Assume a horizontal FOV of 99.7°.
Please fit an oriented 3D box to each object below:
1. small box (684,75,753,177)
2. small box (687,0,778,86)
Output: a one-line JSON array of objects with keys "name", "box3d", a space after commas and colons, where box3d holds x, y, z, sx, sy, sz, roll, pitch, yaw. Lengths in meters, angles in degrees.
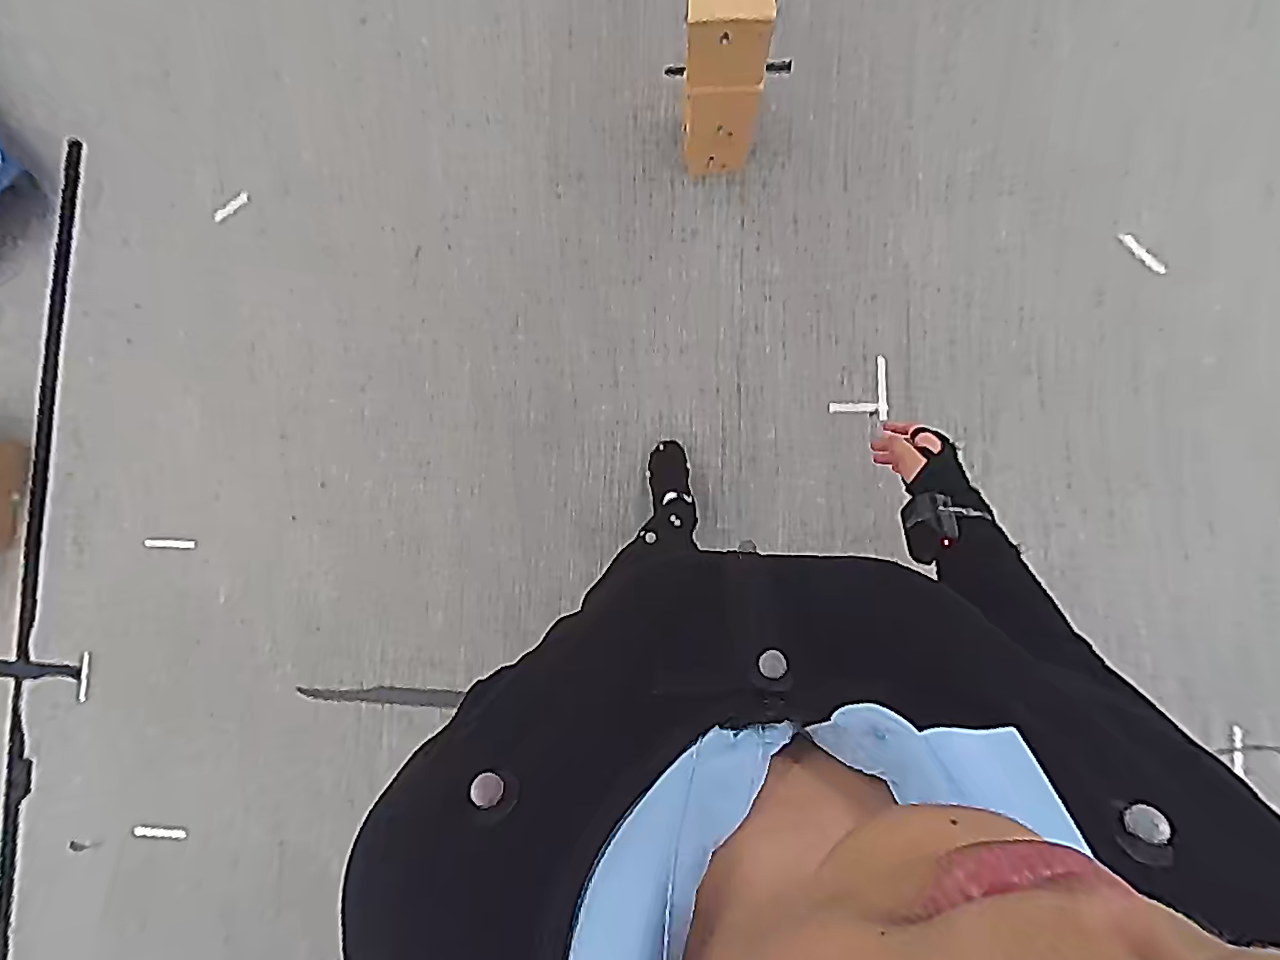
[{"name": "small box", "box3d": [0.208, -0.965, 1.474, 0.168, 0.176, 0.179, -4, 86, 3]}, {"name": "small box", "box3d": [0.190, -0.973, 1.145, 0.179, 0.176, 0.168, 1, 88, 3]}]
